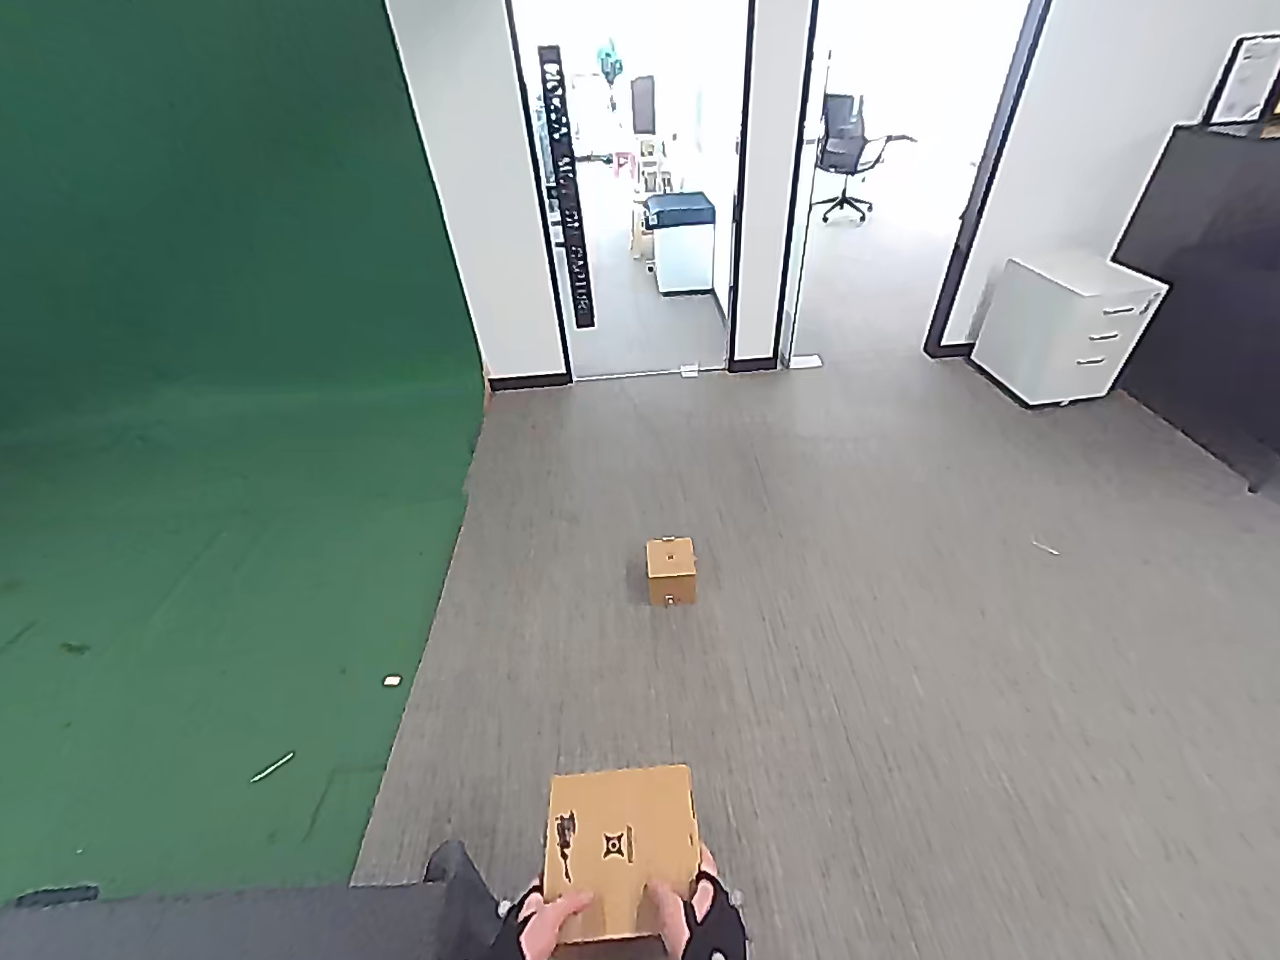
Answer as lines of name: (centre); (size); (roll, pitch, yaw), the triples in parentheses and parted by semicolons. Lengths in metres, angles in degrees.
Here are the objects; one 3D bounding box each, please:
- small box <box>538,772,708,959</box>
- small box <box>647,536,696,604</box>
small box: (-0.015, 0.481, 0.663); (0.179, 0.176, 0.168); (-4, 39, 1)
small box: (0.113, 0.323, 1.941); (0.168, 0.176, 0.179); (-4, 40, 4)
